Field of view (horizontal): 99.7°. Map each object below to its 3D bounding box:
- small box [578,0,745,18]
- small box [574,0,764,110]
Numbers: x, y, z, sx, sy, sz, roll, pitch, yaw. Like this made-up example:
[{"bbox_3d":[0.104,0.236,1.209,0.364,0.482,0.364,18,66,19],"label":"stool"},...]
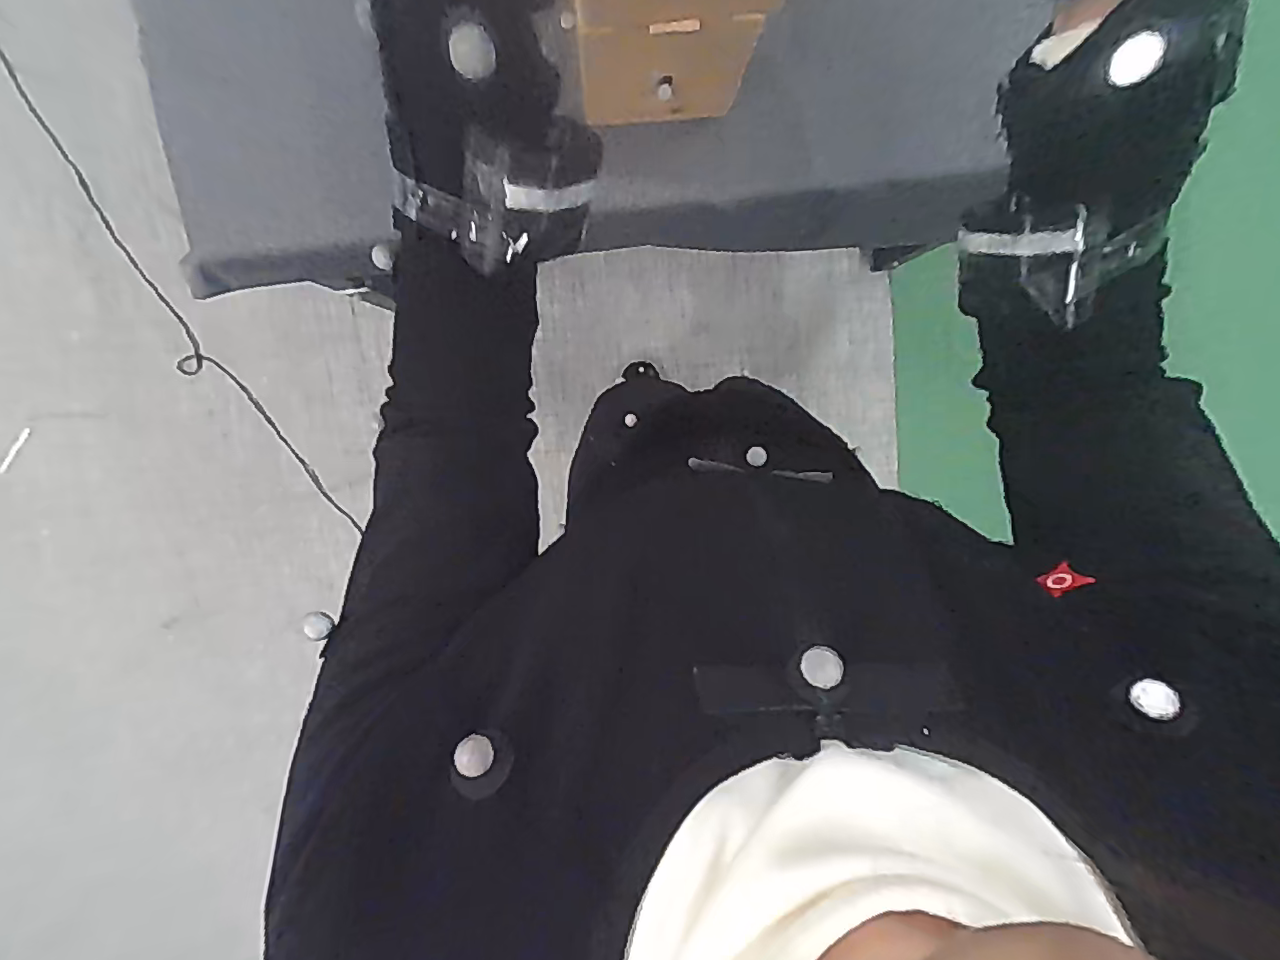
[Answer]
[{"bbox_3d":[0.028,-0.464,0.366,0.179,0.176,0.168,-7,99,1],"label":"small box"},{"bbox_3d":[0.018,-0.493,0.528,0.168,0.176,0.179,-6,100,0],"label":"small box"}]
